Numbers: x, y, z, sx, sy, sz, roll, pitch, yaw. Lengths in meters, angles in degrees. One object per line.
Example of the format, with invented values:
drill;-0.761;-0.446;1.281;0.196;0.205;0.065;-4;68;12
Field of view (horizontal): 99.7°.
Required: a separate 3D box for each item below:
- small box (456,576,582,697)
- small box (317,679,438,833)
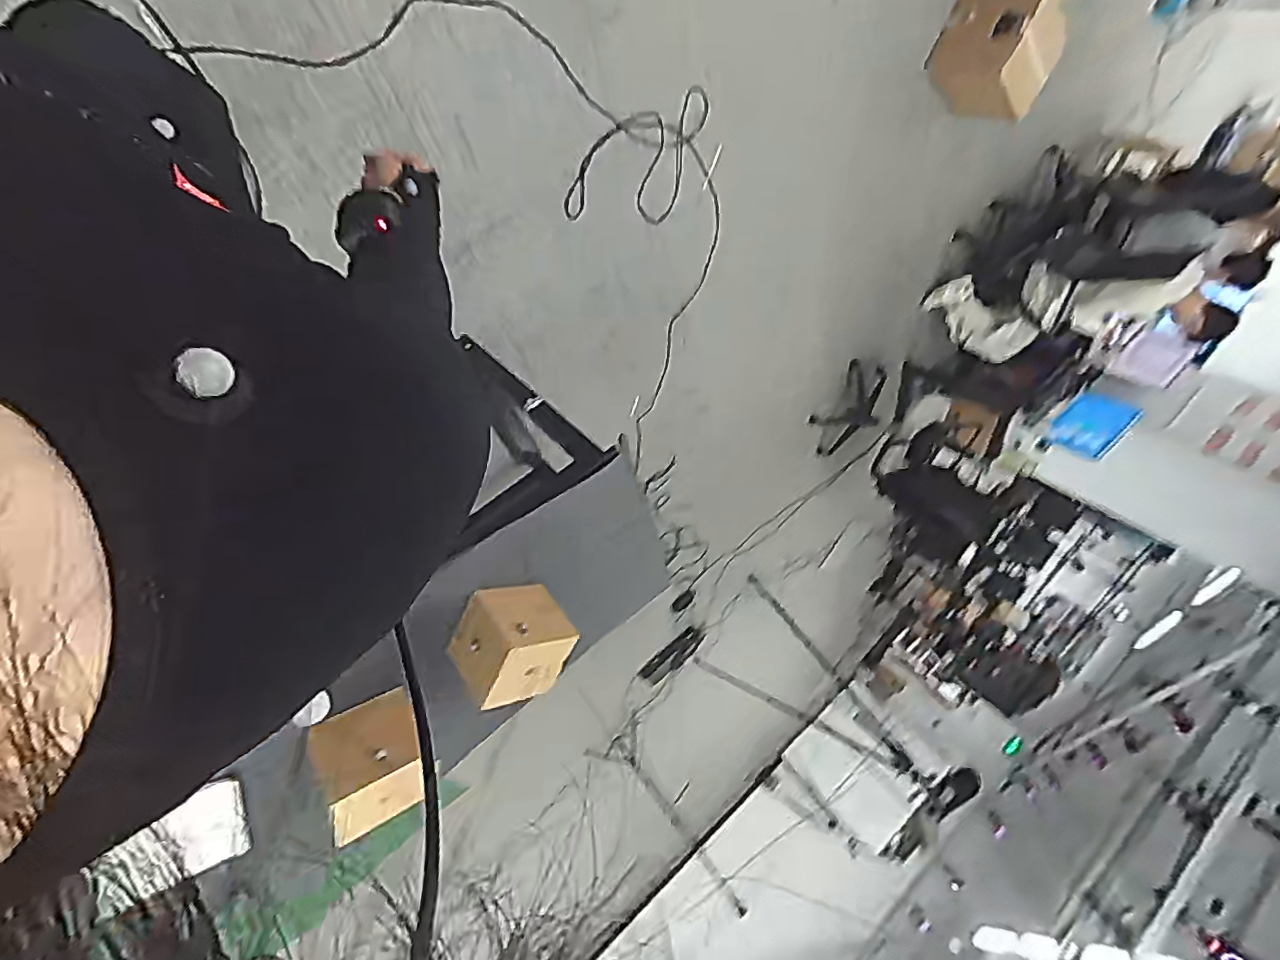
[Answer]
small box;-0.261;0.322;1.146;0.179;0.176;0.168;5;120;-49
small box;-0.519;0.537;1.070;0.179;0.176;0.168;-18;135;-38
